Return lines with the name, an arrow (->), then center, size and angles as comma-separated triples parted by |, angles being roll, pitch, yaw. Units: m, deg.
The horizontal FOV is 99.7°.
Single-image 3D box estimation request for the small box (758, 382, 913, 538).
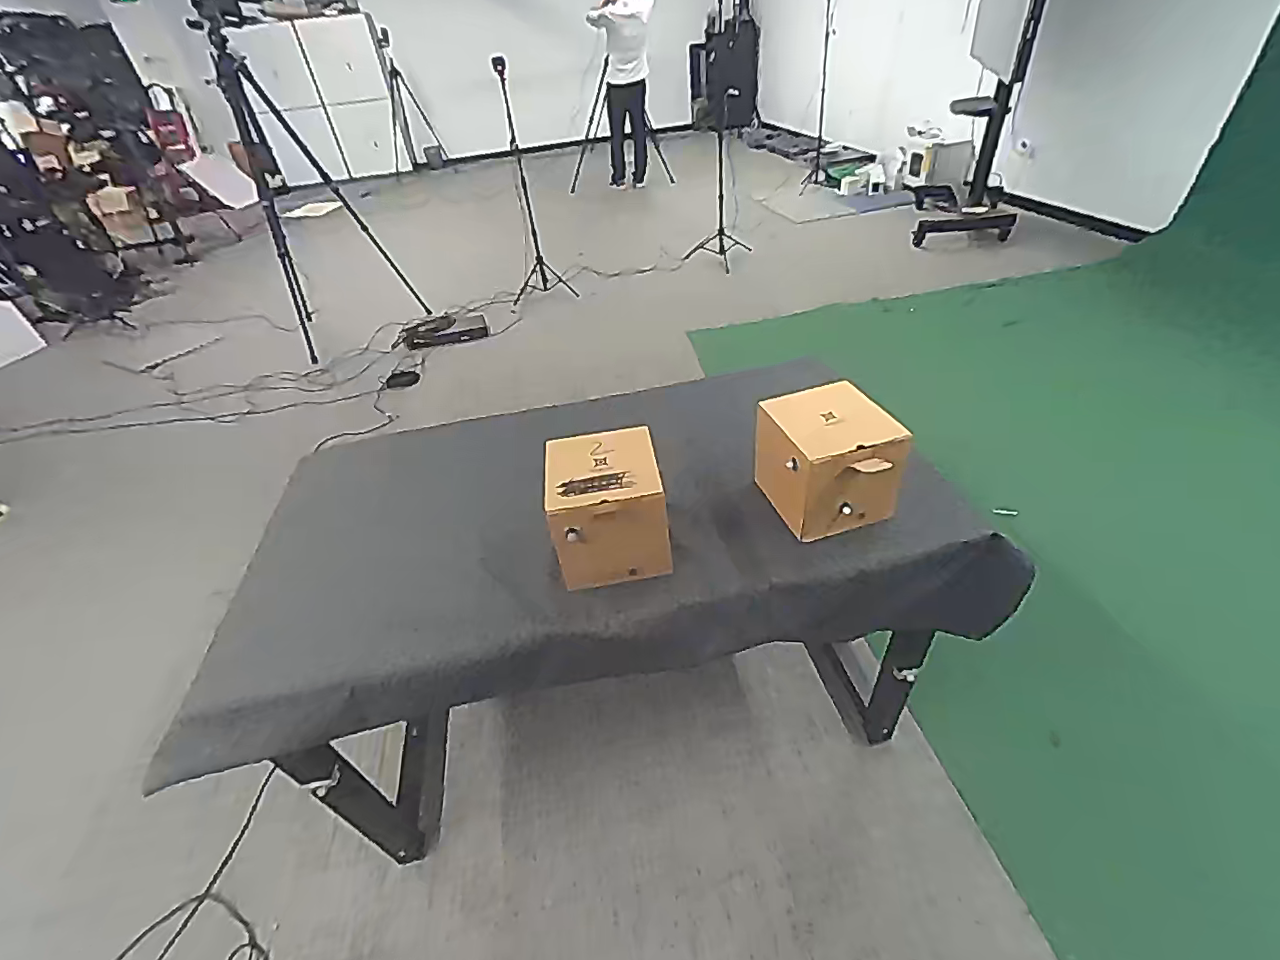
small box -> 0.303, -0.034, 0.885 | 0.168, 0.176, 0.179 | -15, 41, -9
